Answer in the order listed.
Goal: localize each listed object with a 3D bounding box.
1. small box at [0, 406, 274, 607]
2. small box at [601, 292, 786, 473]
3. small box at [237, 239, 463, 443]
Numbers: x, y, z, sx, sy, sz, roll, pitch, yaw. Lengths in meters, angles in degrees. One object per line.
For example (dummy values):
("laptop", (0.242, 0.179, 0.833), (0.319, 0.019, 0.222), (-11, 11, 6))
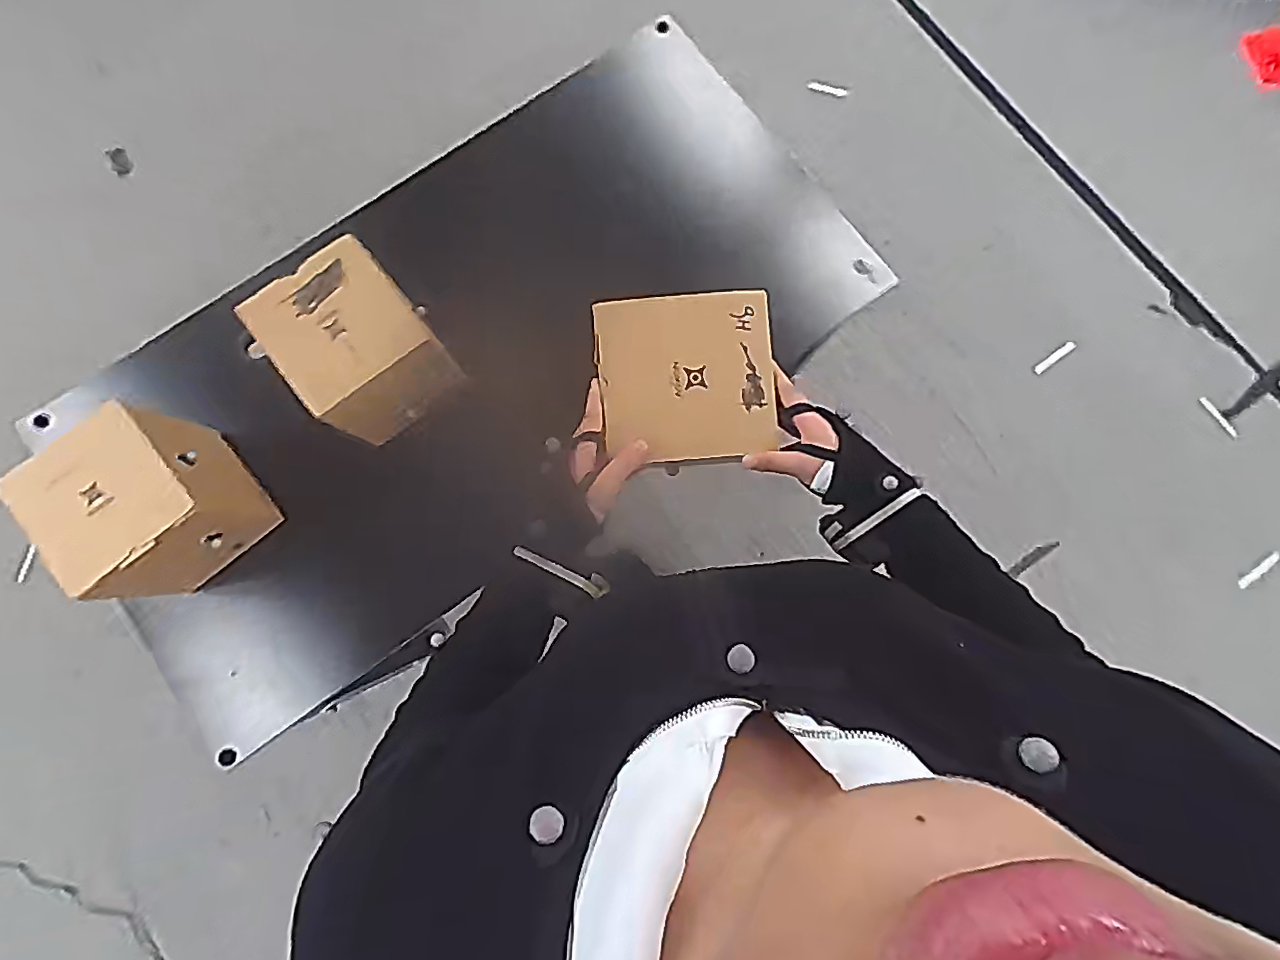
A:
("small box", (-0.627, 0.038, 0.693), (0.168, 0.176, 0.179), (-41, 83, -8))
("small box", (0.053, -0.097, 0.610), (0.179, 0.176, 0.168), (-4, 89, 0))
("small box", (-0.372, -0.173, 0.728), (0.168, 0.176, 0.179), (-38, 85, -6))
